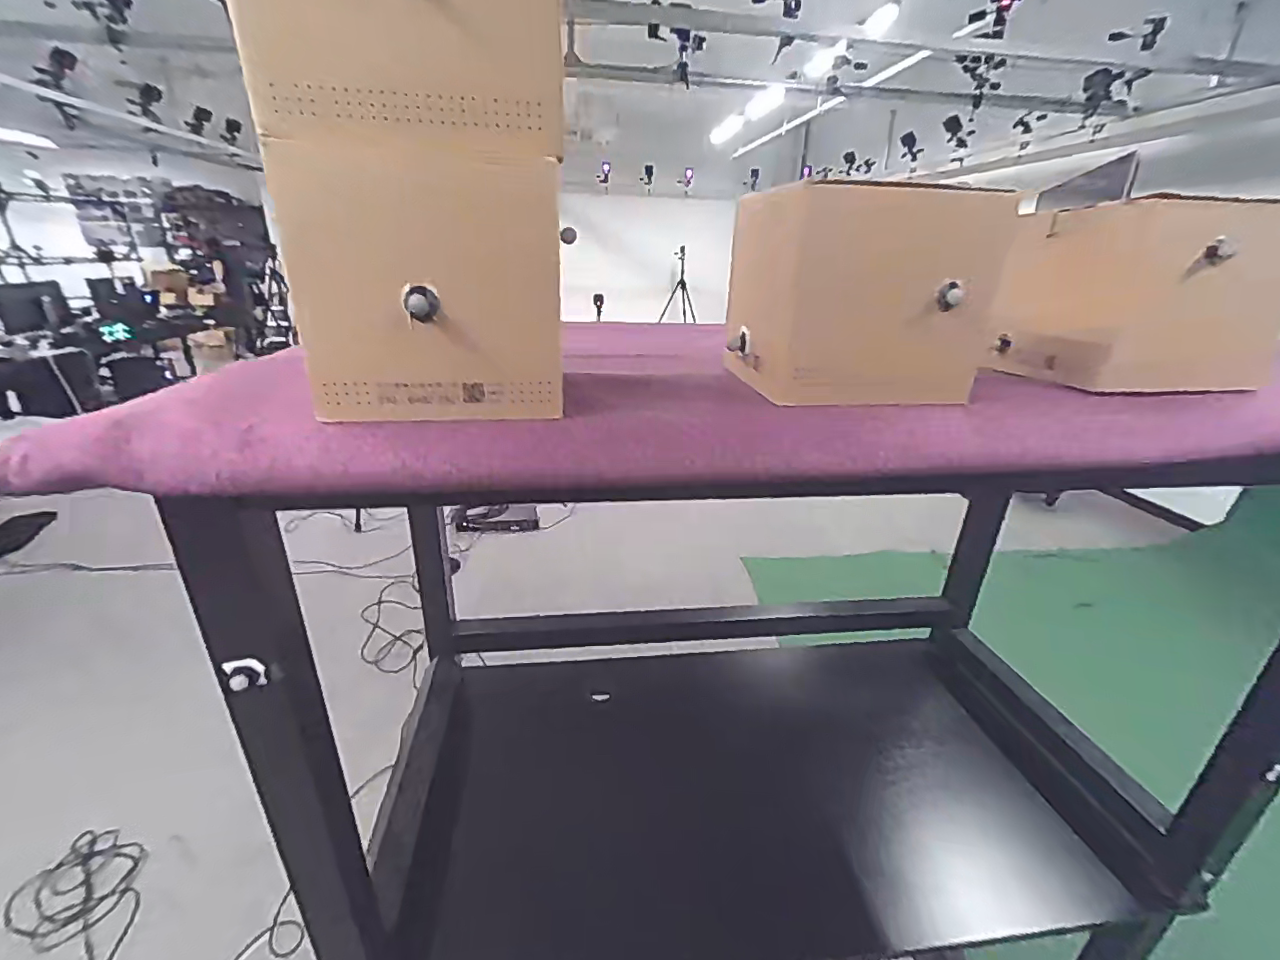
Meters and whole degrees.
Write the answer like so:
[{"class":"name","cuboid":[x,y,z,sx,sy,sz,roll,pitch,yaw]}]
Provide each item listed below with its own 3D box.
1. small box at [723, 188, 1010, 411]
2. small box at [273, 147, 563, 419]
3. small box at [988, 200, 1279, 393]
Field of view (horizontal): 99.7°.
[{"class":"small box","cuboid":[0.187,-0.166,0.503,0.179,0.176,0.168,-3,22,-8]},{"class":"small box","cuboid":[-0.147,-0.149,0.429,0.168,0.176,0.179,-1,23,-10]},{"class":"small box","cuboid":[0.503,-0.187,0.569,0.179,0.176,0.168,-1,20,-6]}]
